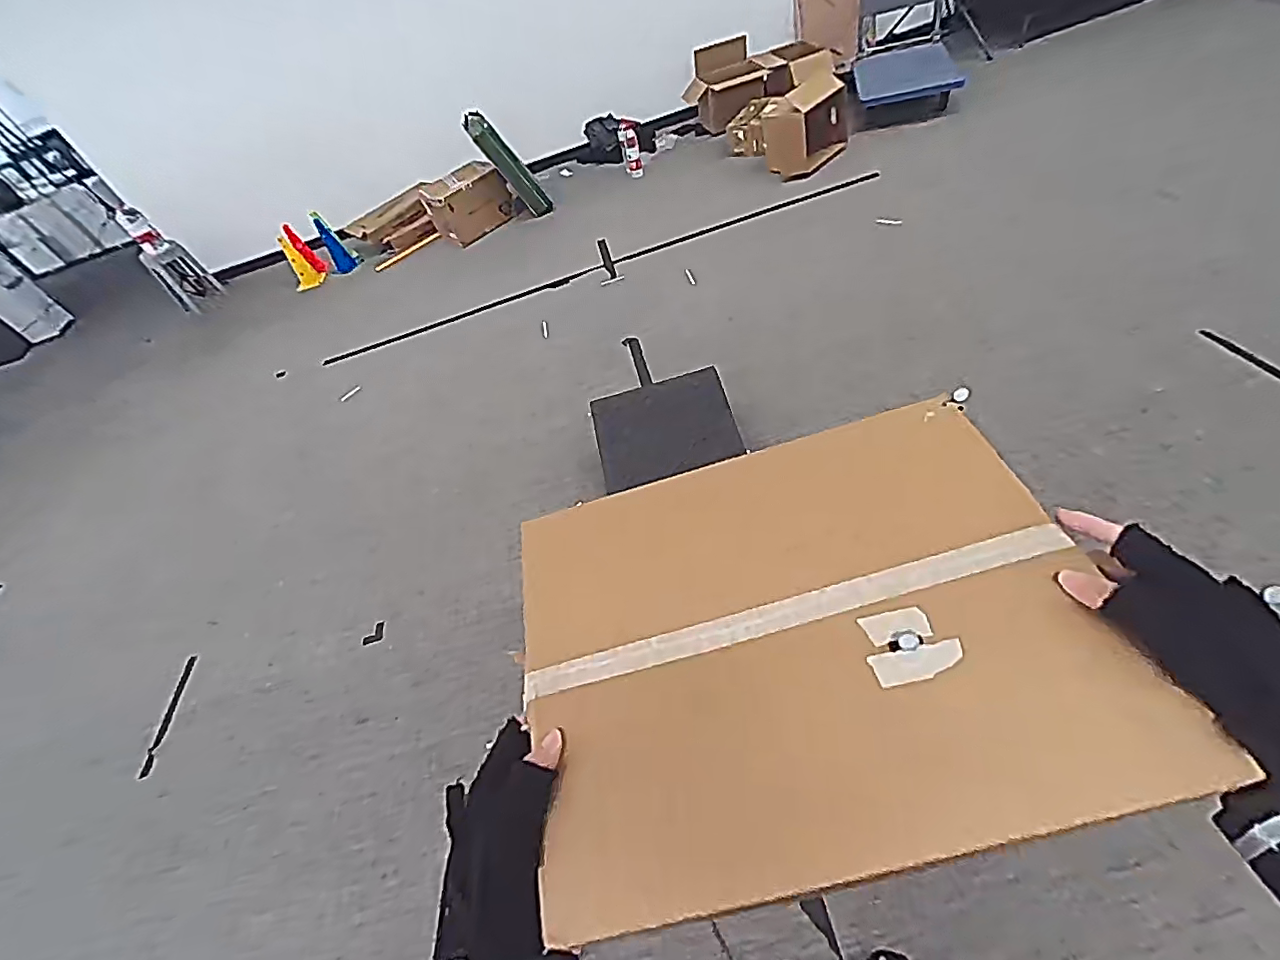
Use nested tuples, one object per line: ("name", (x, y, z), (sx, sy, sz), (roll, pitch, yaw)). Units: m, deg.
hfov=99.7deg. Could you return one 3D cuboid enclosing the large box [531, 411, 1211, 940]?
("large box", (0.145, 0.197, 0.526), (0.408, 0.320, 0.320), (-17, 51, 4))
